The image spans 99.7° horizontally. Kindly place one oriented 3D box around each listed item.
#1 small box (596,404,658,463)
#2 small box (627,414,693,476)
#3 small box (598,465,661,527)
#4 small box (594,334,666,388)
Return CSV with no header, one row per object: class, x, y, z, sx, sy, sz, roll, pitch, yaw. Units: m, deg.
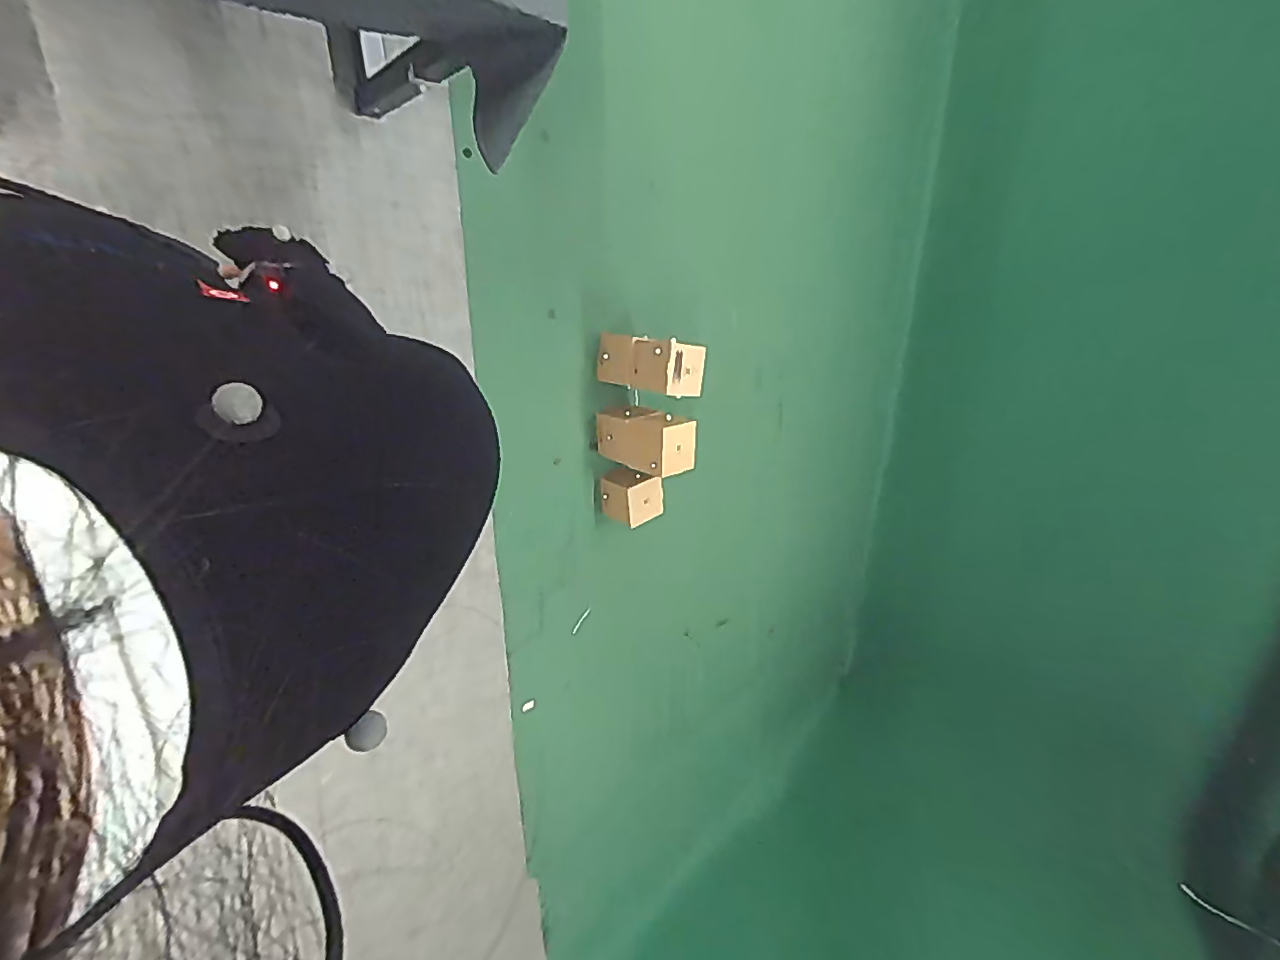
small box,-0.050,-0.175,1.988,0.179,0.176,0.168,-21,119,-40
small box,0.067,-0.129,1.883,0.168,0.176,0.179,-17,117,-41
small box,-0.041,0.054,2.081,0.179,0.176,0.168,-24,120,-39
small box,-0.037,-0.422,1.911,0.179,0.176,0.168,-4,106,-44
